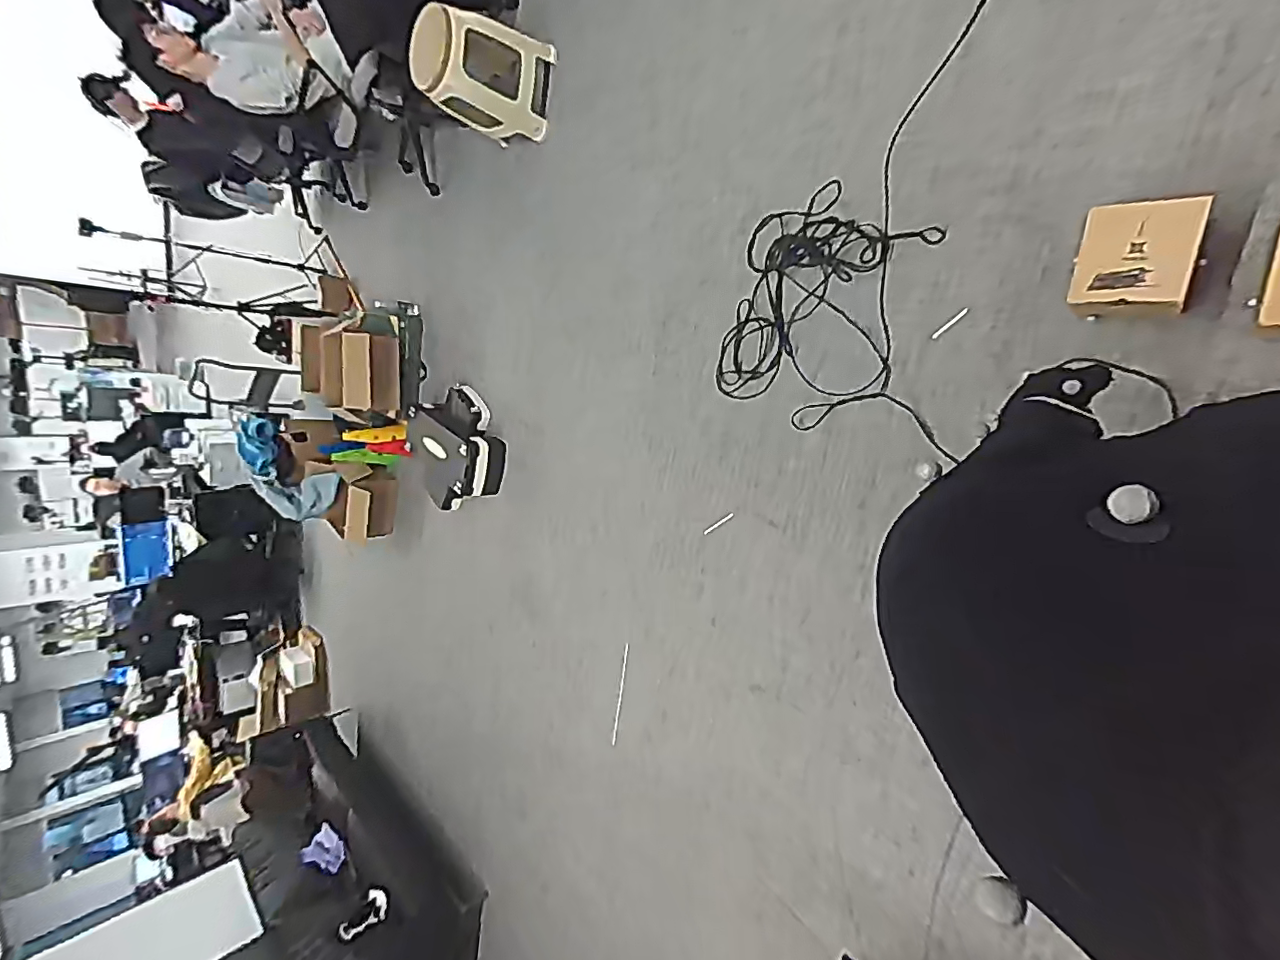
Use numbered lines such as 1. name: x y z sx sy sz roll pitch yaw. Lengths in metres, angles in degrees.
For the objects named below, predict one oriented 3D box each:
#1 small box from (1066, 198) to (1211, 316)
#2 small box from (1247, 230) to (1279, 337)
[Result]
1. small box: 0.944 -0.412 1.030 0.168 0.176 0.179 16 105 41
2. small box: 1.126 -0.330 0.871 0.168 0.176 0.179 13 104 42
